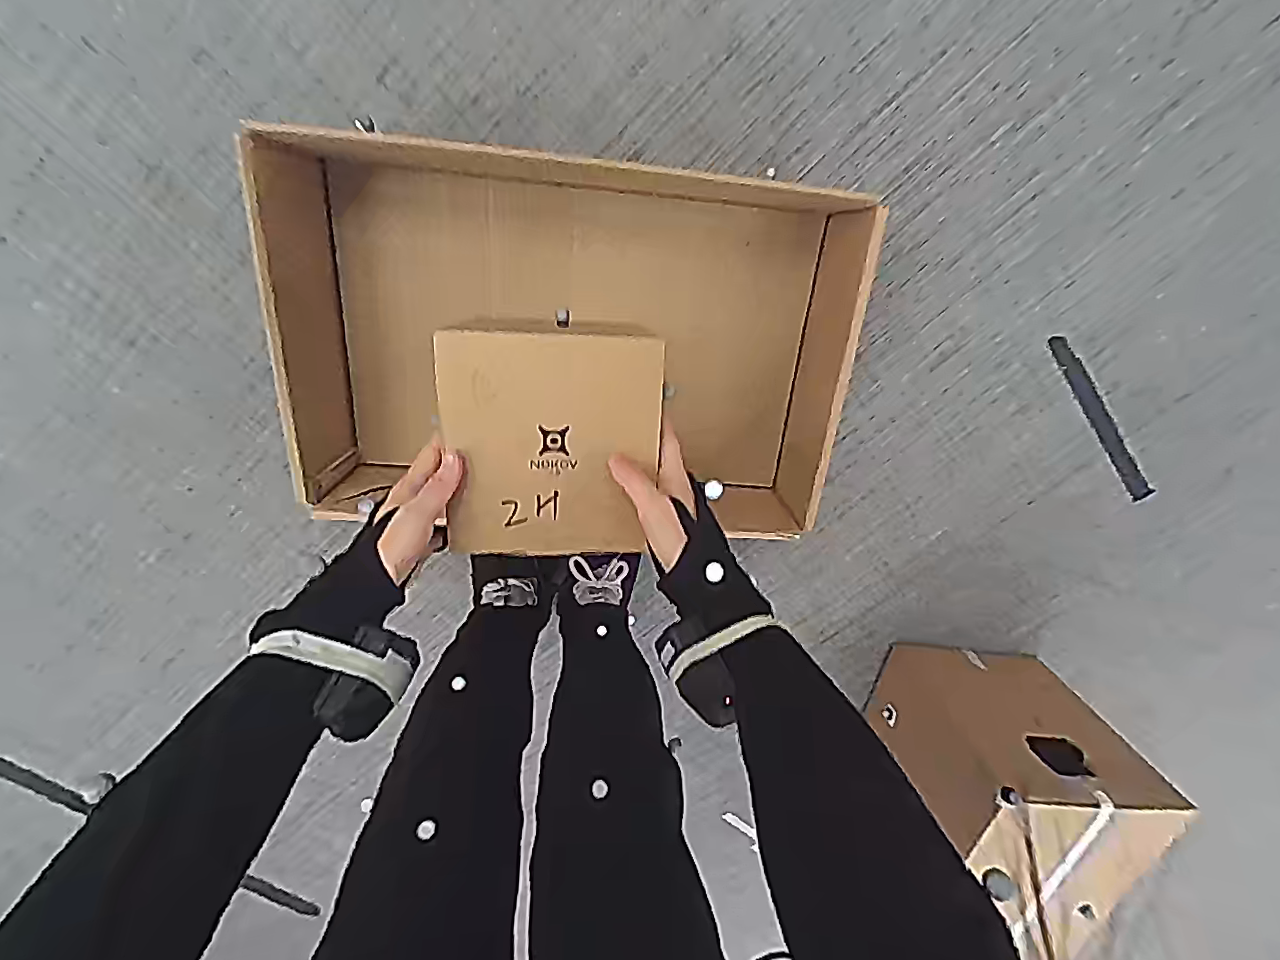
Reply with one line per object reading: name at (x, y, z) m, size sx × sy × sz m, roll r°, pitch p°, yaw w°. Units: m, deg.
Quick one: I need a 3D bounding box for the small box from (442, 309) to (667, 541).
small box at (-0.075, -0.059, 0.493) m, size 0.168 × 0.176 × 0.179 m, roll 0°, pitch 111°, yaw -8°
